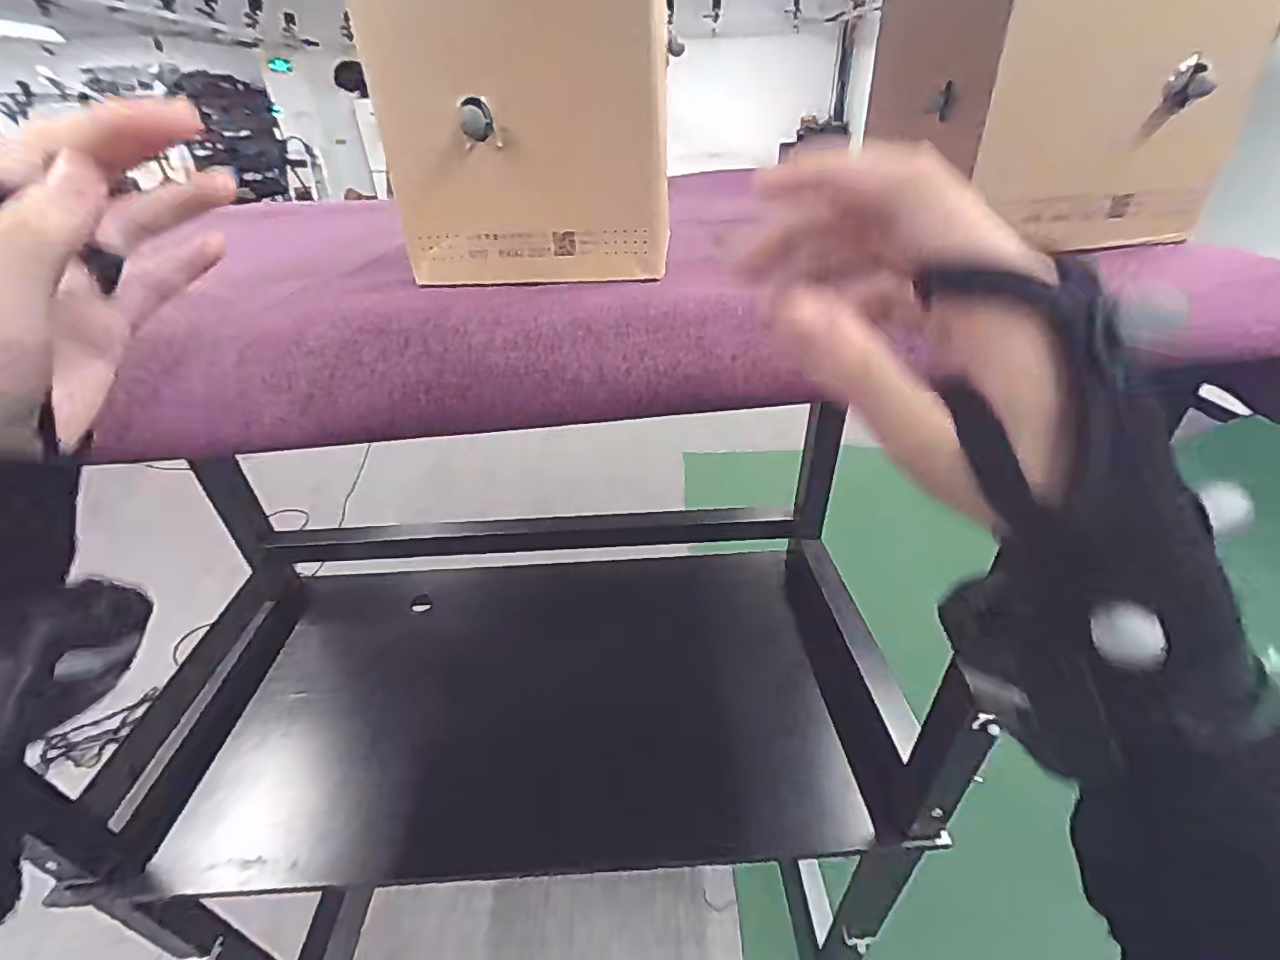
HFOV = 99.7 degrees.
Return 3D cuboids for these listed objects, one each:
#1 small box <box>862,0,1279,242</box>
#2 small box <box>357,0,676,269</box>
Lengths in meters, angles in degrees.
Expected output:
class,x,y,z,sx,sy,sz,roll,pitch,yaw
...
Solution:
class,x,y,z,sx,sy,sz,roll,pitch,yaw
small box,0.282,-0.271,0.387,0.168,0.176,0.179,-4,32,-2
small box,-0.059,-0.249,0.379,0.168,0.176,0.179,0,32,4
